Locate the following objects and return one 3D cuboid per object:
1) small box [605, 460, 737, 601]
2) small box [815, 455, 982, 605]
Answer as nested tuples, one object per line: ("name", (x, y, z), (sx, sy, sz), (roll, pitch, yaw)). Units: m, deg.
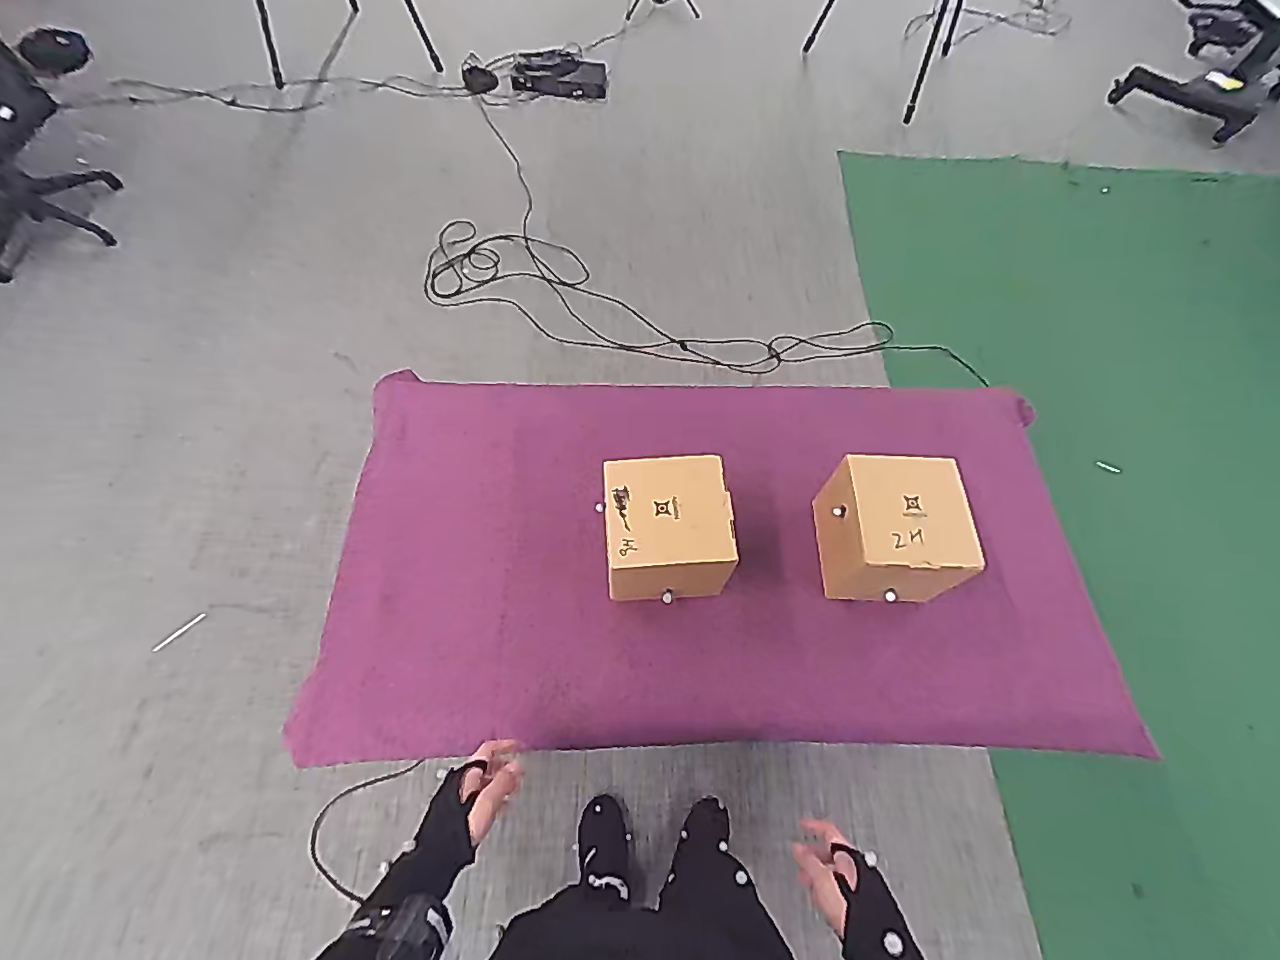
("small box", (0.037, 0.081, 0.825), (0.179, 0.176, 0.168), (-2, 62, -4))
("small box", (0.382, 0.082, 0.838), (0.168, 0.176, 0.179), (3, 62, 0))
